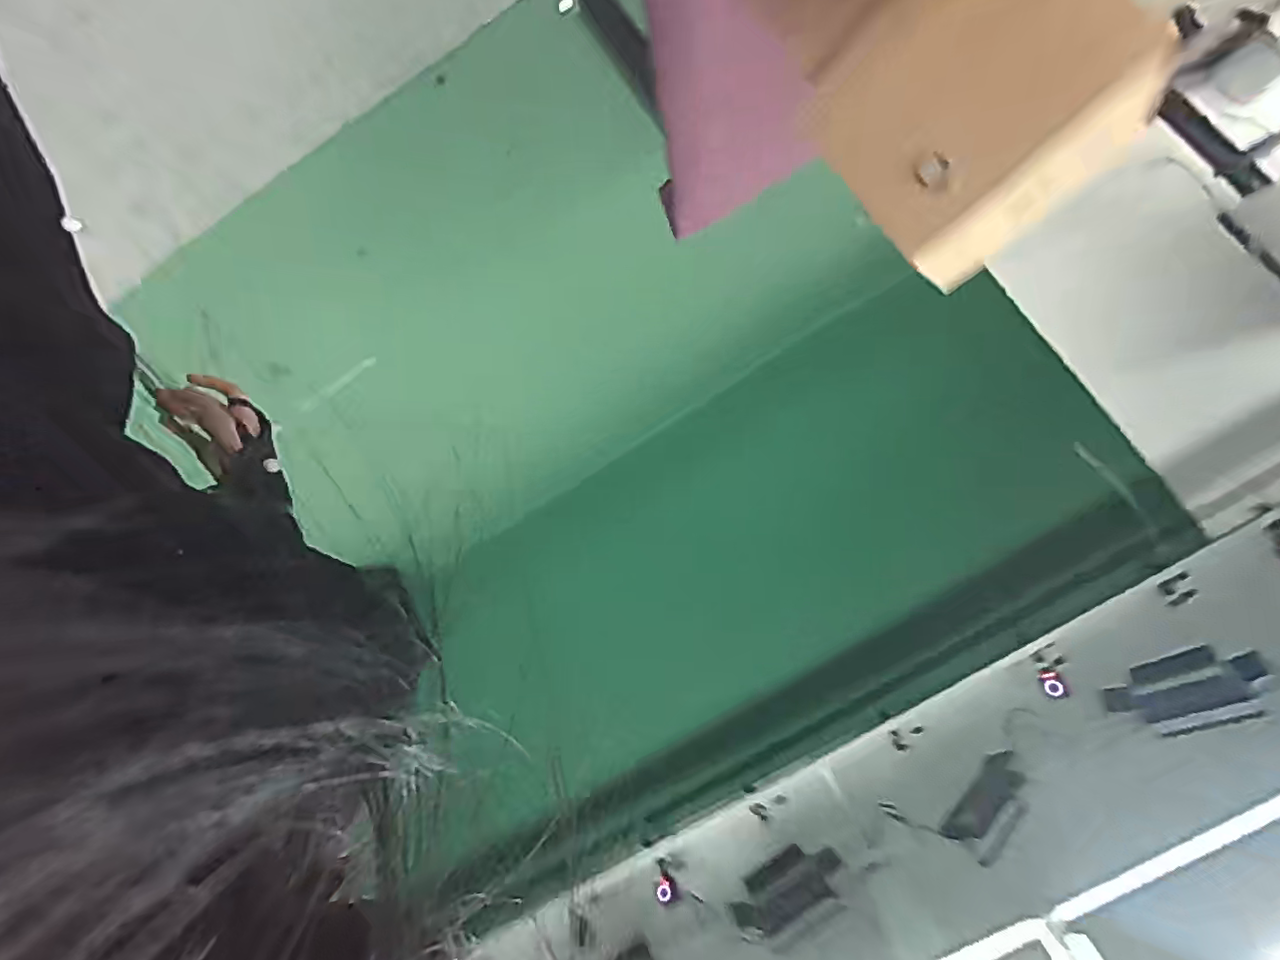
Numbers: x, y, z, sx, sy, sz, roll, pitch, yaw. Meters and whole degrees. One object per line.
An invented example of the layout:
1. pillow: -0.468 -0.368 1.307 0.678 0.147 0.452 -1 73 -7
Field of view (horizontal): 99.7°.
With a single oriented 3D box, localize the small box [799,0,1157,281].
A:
1. small box: 0.258 -0.301 0.450 0.179 0.176 0.168 -42 165 34
